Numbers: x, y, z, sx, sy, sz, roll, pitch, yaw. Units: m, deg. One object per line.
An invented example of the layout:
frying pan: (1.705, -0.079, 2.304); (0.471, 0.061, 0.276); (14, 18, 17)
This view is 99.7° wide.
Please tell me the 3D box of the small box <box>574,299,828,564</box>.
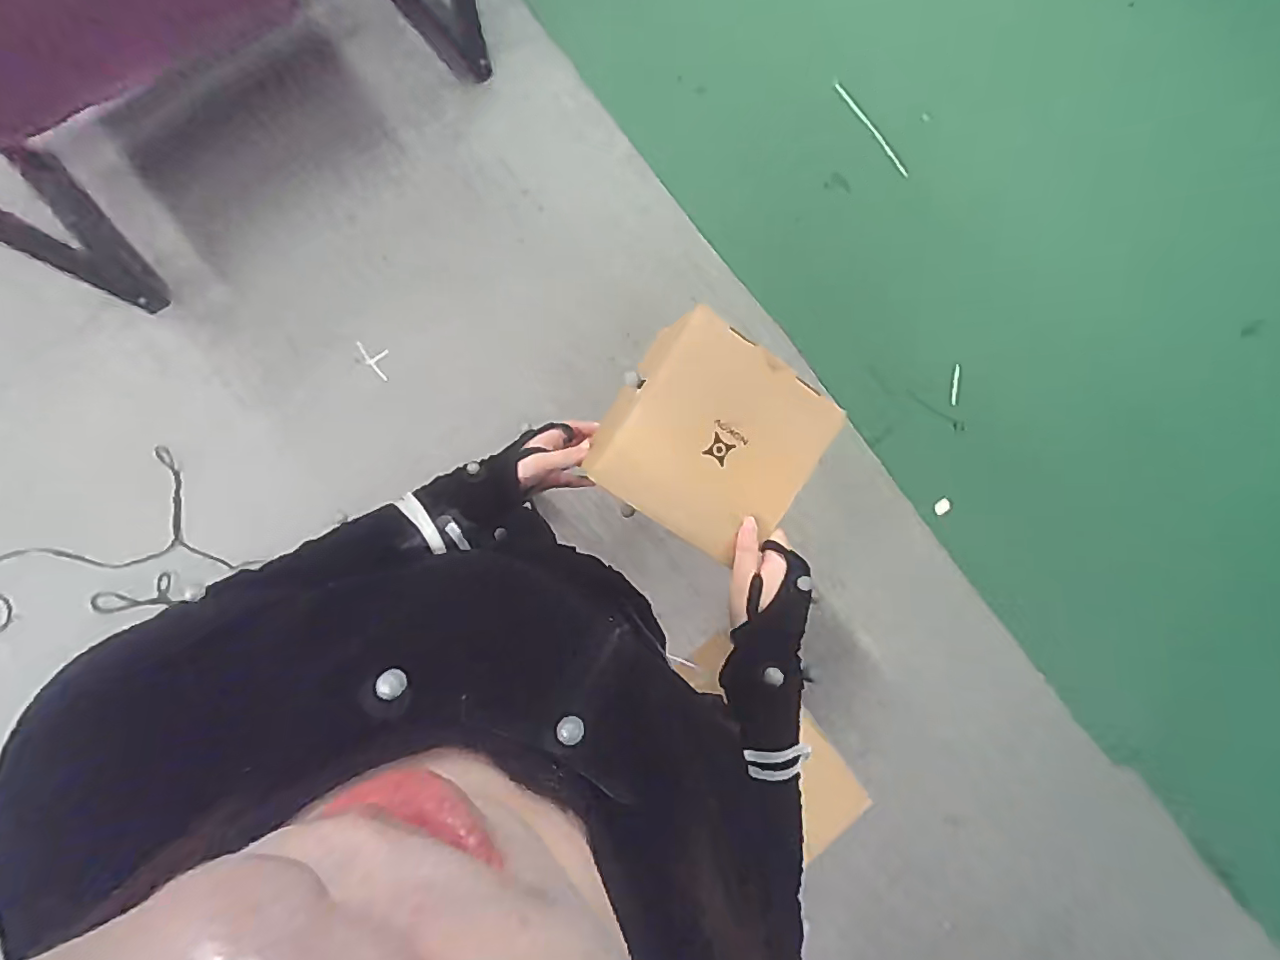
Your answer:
small box: (0.045, -0.047, 0.548); (0.168, 0.176, 0.179); (33, 89, -13)
